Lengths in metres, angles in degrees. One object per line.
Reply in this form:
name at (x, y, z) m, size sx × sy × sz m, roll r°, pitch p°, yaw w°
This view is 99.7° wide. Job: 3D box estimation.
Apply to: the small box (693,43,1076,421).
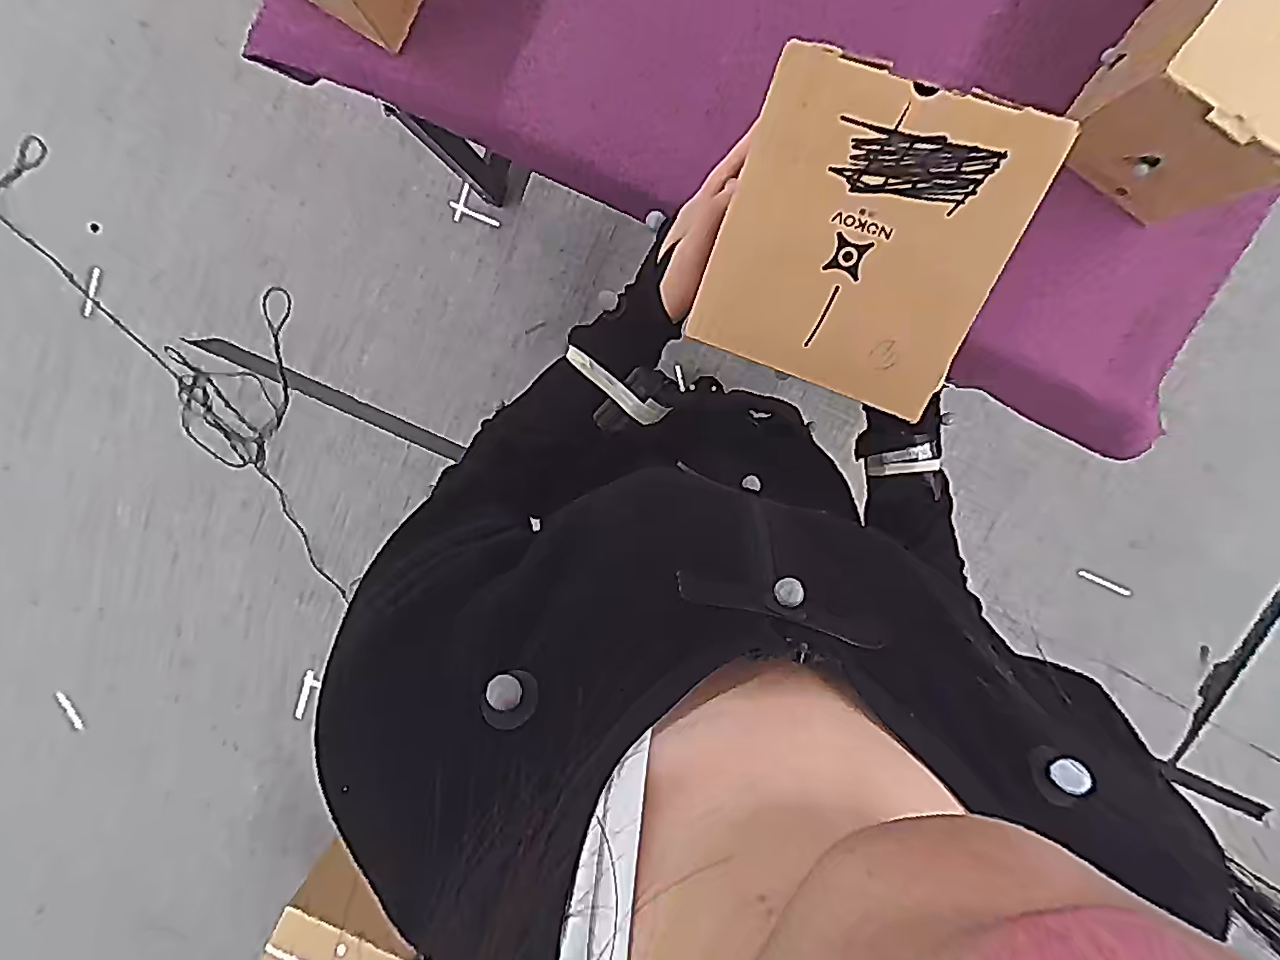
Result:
small box at (0.155, -0.168, 0.405) m, size 0.168 × 0.176 × 0.179 m, roll 23°, pitch 112°, yaw 7°
